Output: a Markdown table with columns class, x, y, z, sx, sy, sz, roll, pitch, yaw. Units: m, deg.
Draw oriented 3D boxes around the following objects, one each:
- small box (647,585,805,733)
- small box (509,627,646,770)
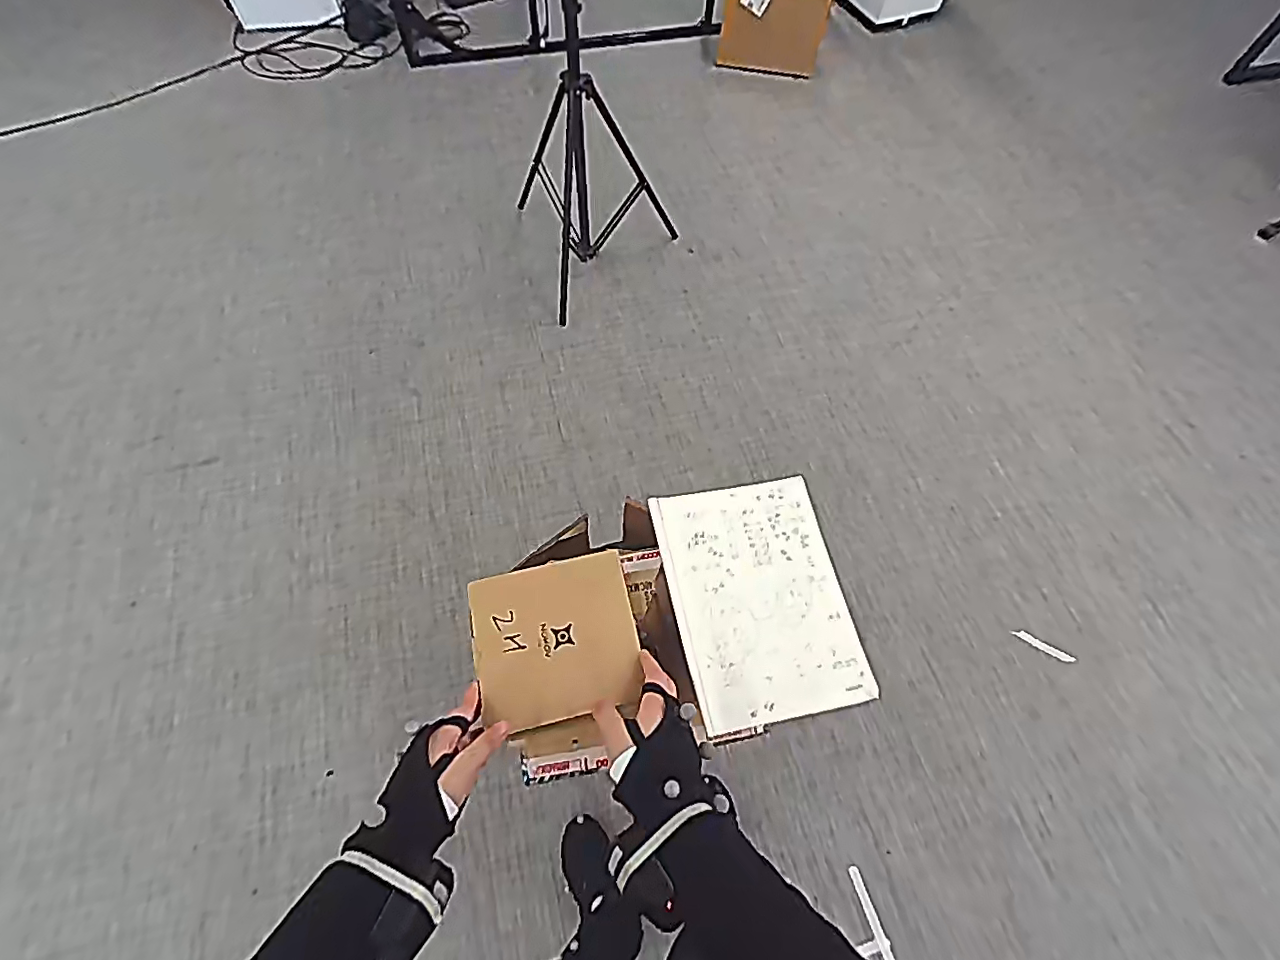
| class | x | y | z | sx | sy | sz | roll | pitch | yaw |
| --- | --- | --- | --- | --- | --- | --- | --- | --- | --- |
| small box | 0.120 | 0.278 | 0.834 | 0.179 | 0.176 | 0.168 | -13 | 66 | -11 |
| small box | -0.091 | 0.321 | 0.802 | 0.179 | 0.176 | 0.168 | -7 | 66 | -4 |
